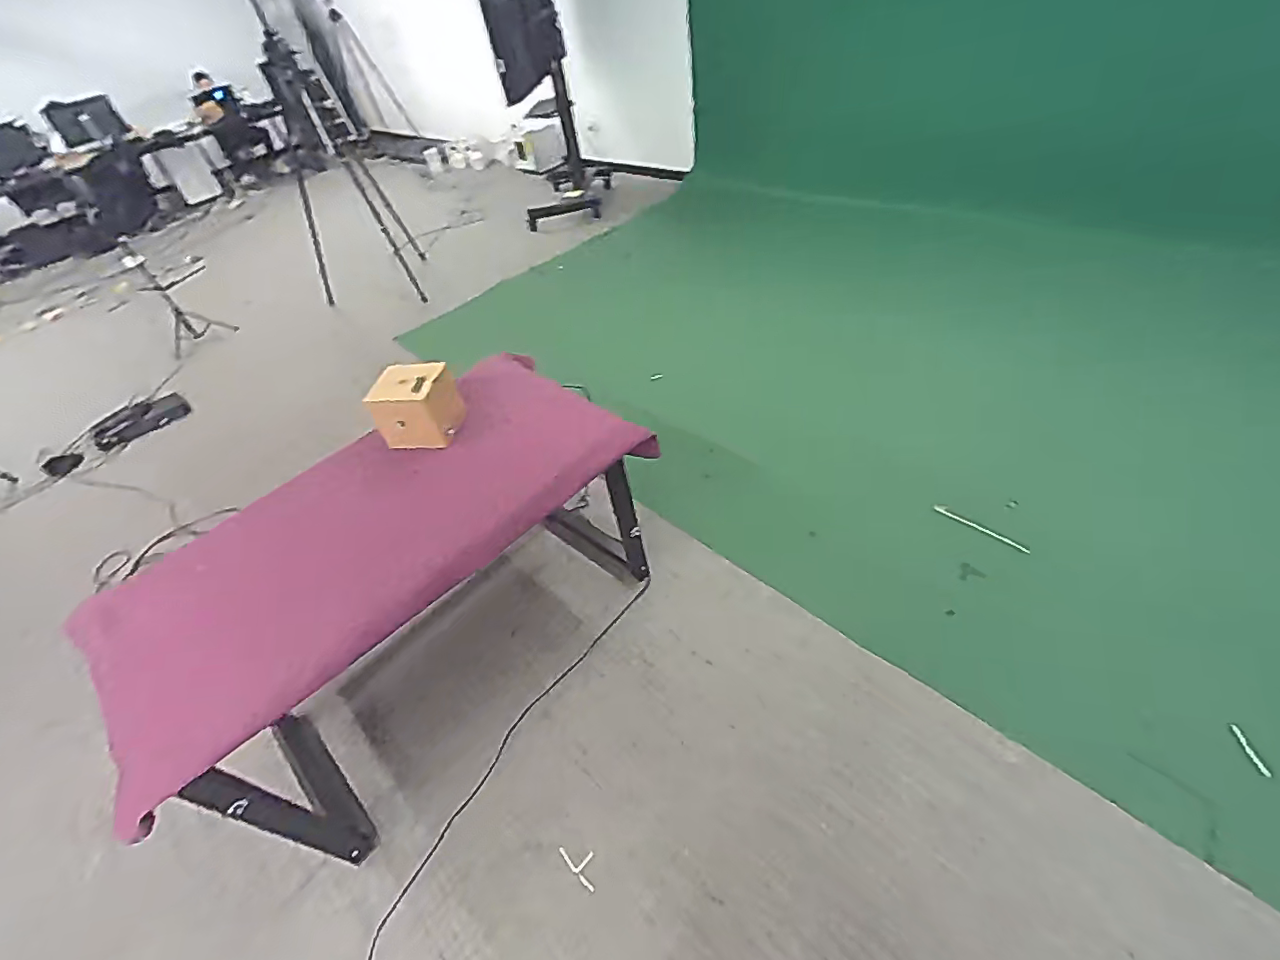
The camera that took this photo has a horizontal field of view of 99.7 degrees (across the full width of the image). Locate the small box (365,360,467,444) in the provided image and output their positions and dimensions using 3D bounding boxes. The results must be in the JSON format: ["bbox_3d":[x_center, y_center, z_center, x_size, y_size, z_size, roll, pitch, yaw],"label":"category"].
[{"bbox_3d":[-0.602,-0.210,1.480,0.179,0.176,0.168,0,46,11],"label":"small box"}]
